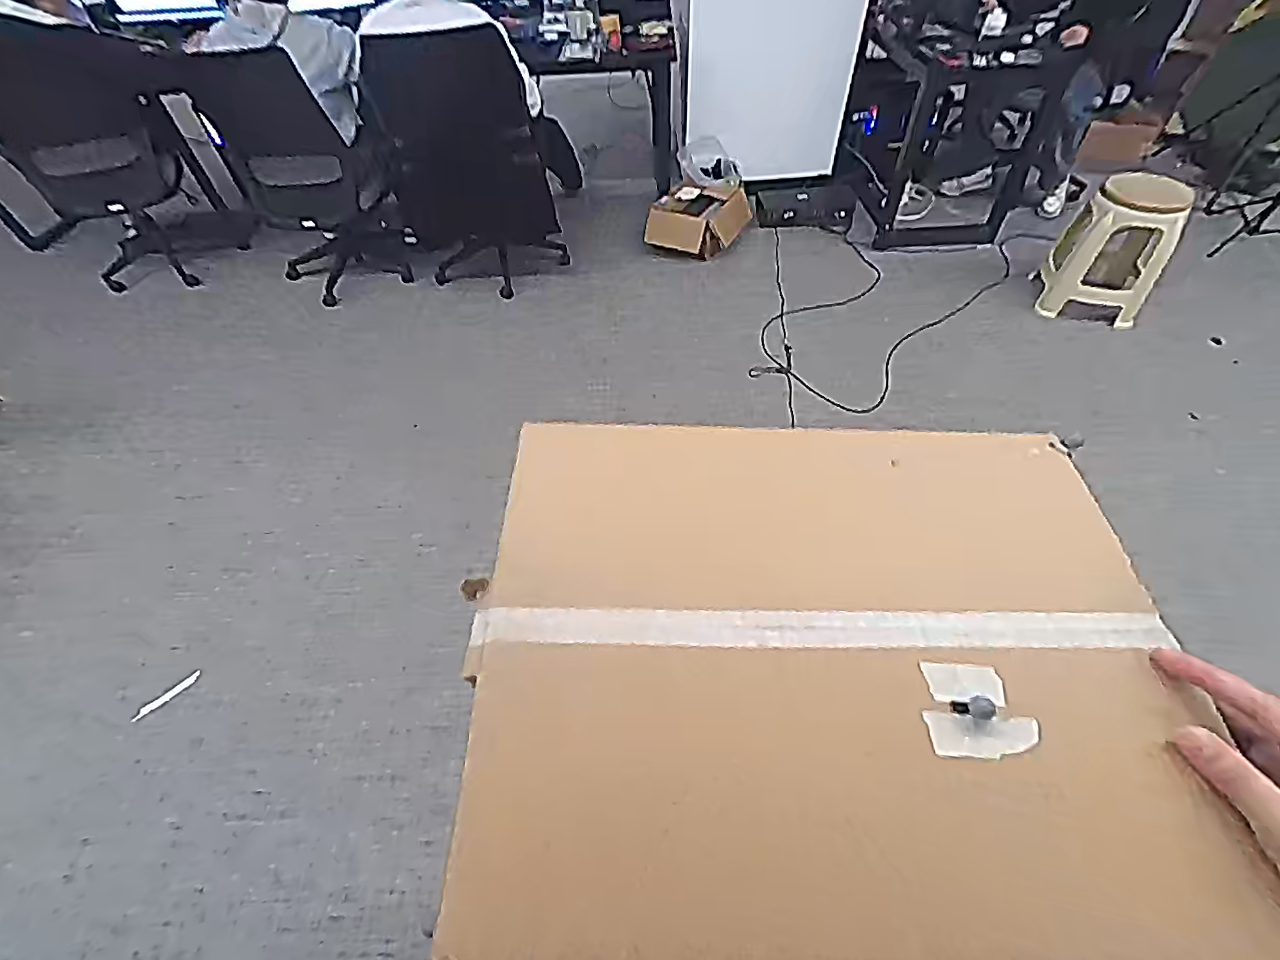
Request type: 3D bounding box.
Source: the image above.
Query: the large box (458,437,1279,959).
[{"bbox_3d":[0.106,0.180,0.453,0.408,0.320,0.320,1,56,-2],"label":"large box"}]
